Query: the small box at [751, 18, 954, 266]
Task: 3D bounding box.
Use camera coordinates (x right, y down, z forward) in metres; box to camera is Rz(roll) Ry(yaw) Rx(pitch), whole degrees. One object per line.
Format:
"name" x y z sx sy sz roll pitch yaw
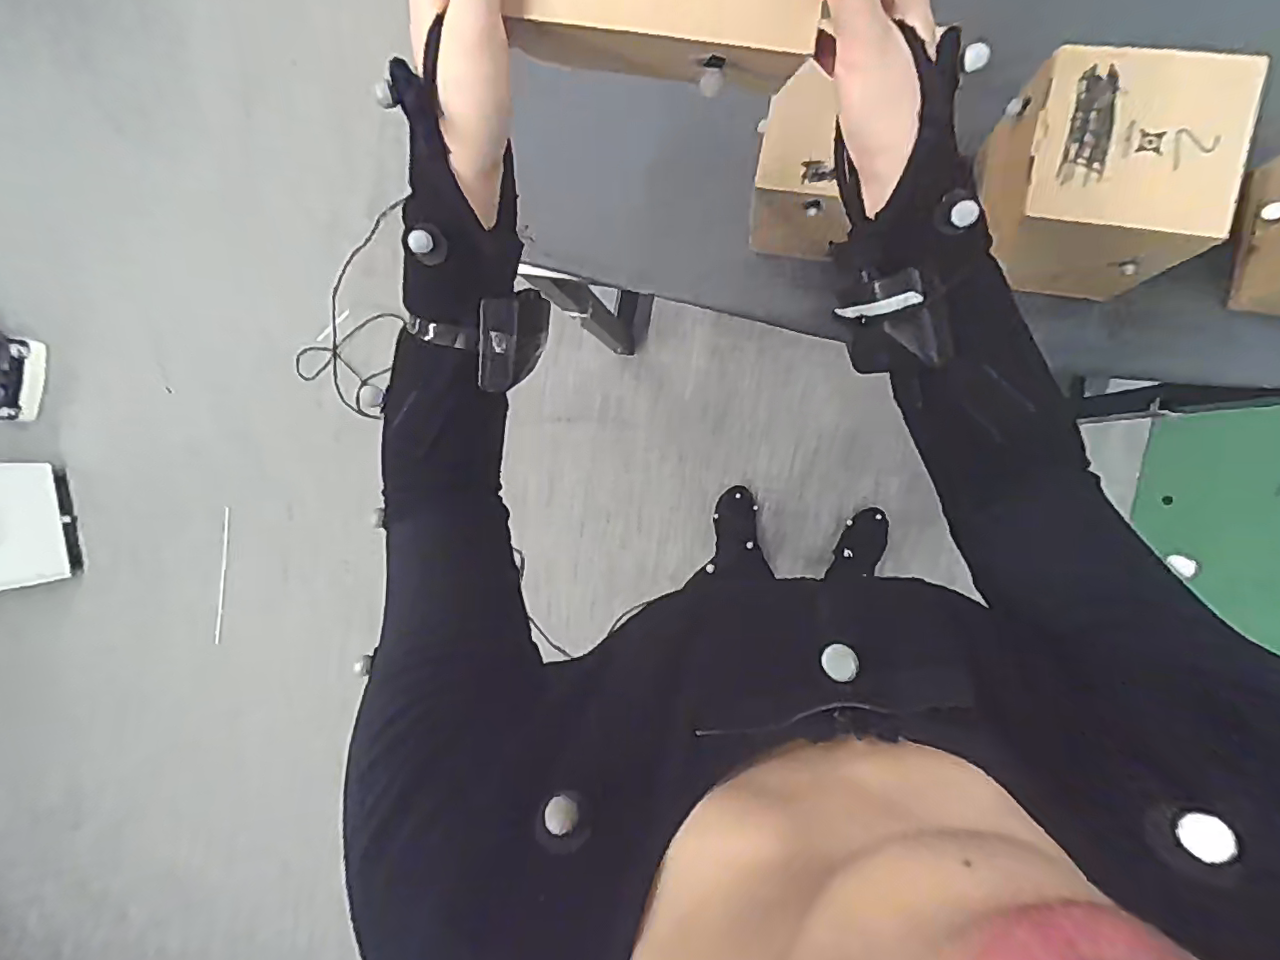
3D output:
"small box" 0.224 -0.372 0.619 0.168 0.176 0.179 13 93 11

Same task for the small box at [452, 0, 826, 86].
"small box" 0.015 -0.320 0.279 0.179 0.176 0.168 10 121 3

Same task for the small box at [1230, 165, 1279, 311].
"small box" 0.752 -0.260 0.517 0.179 0.176 0.168 12 91 12
